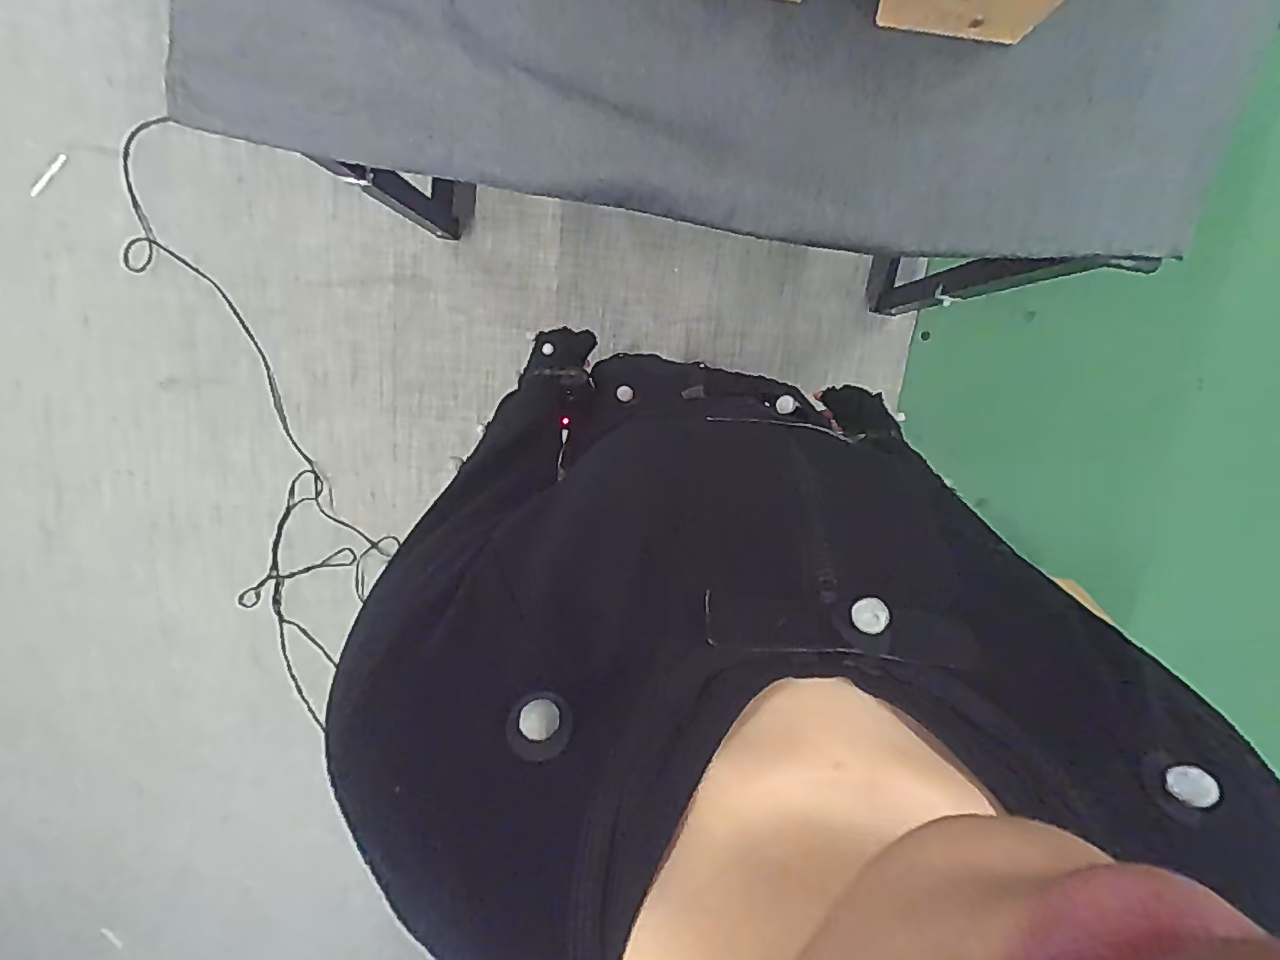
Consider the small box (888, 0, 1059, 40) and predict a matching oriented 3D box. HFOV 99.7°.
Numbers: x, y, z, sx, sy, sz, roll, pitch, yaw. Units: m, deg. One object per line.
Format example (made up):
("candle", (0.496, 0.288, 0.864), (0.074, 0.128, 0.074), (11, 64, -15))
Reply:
("small box", (0.362, -0.573, 0.520), (0.168, 0.176, 0.179), (8, 101, 0))
